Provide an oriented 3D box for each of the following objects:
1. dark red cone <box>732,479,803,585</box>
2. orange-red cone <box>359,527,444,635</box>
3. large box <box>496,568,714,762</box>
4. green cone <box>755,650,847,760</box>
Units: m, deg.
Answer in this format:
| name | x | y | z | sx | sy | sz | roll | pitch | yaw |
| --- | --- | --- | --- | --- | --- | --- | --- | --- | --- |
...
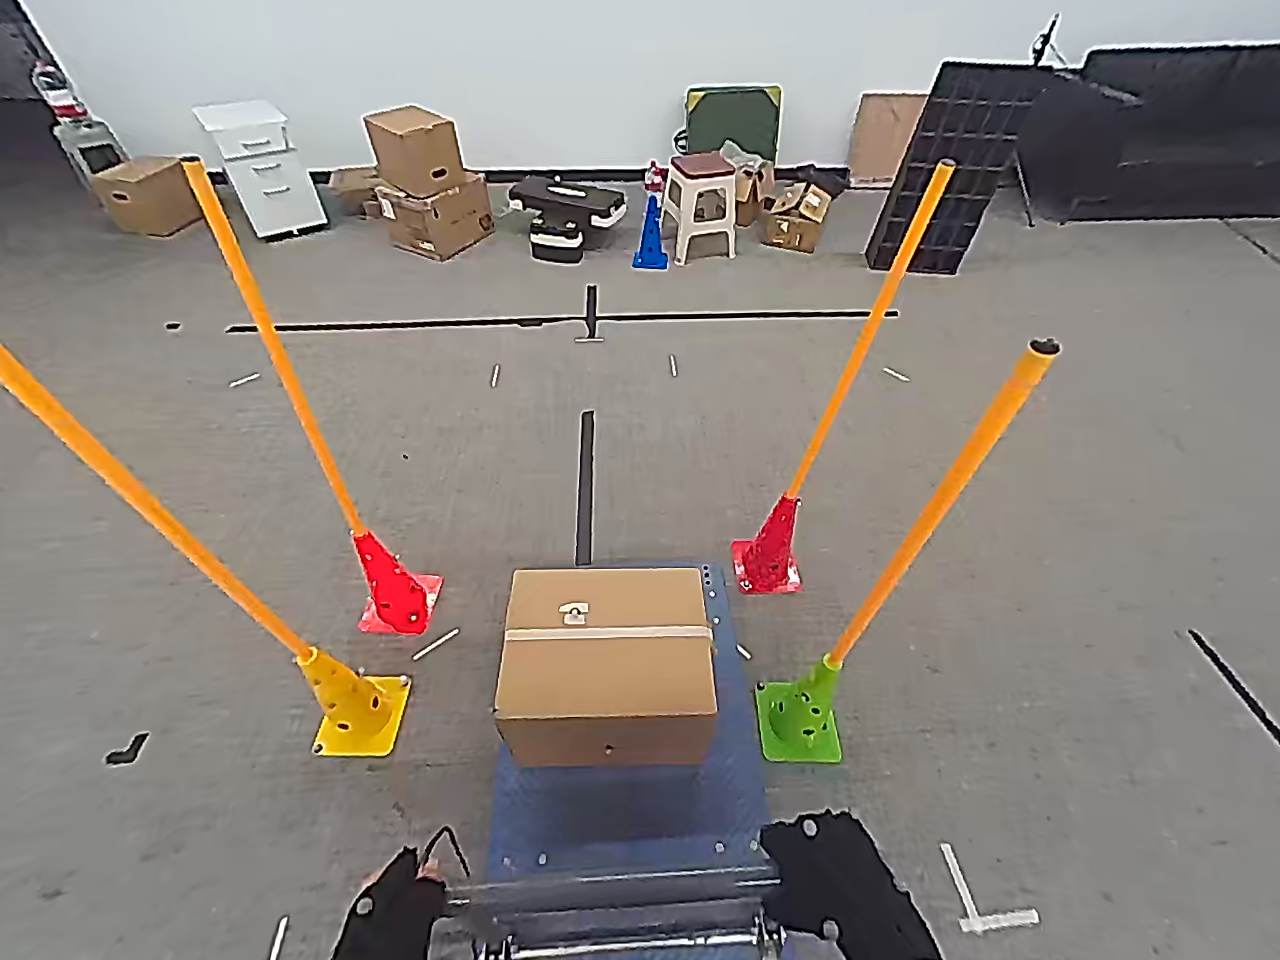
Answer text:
| name | x | y | z | sx | sy | sz | roll | pitch | yaw |
| --- | --- | --- | --- | --- | --- | --- | --- | --- | --- |
| dark red cone | 0.413 | 0.143 | 1.614 | 0.201 | 0.394 | 0.202 | 0 | 48 | -4 |
| orange-red cone | -0.711 | 0.254 | 1.519 | 0.198 | 0.360 | 0.199 | 5 | 46 | 2 |
| large box | -0.066 | 0.411 | 1.187 | 0.408 | 0.320 | 0.320 | -1 | 47 | -1 |
| green cone | 0.418 | 0.512 | 1.298 | 0.202 | 0.368 | 0.200 | 2 | 47 | -1 |
